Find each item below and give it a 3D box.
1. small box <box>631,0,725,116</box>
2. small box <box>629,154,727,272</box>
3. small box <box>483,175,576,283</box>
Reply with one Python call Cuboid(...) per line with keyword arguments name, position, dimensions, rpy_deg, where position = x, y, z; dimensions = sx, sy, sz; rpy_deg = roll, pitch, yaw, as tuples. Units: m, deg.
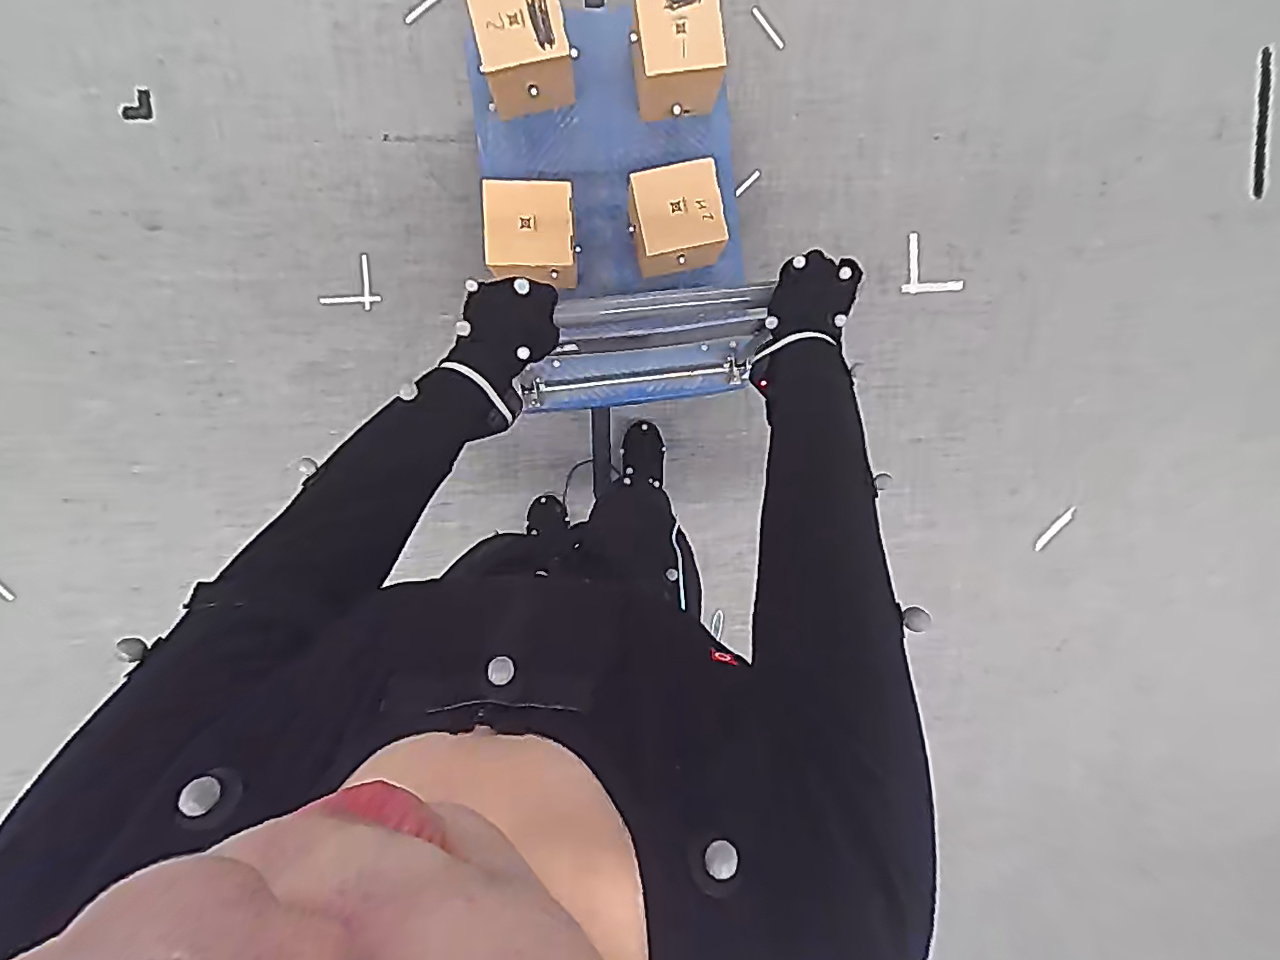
Cuboid(name="small box", position=(0.074, -0.913, 1.143), dimensions=(0.168, 0.176, 0.179), rpy_deg=(-8, 97, -2))
Cuboid(name="small box", position=(0.075, -0.570, 1.175), dimensions=(0.179, 0.176, 0.168), rpy_deg=(-12, 96, -2))
Cuboid(name="small box", position=(-0.229, -0.530, 1.162), dimensions=(0.179, 0.176, 0.168), rpy_deg=(-1, 95, -5))
